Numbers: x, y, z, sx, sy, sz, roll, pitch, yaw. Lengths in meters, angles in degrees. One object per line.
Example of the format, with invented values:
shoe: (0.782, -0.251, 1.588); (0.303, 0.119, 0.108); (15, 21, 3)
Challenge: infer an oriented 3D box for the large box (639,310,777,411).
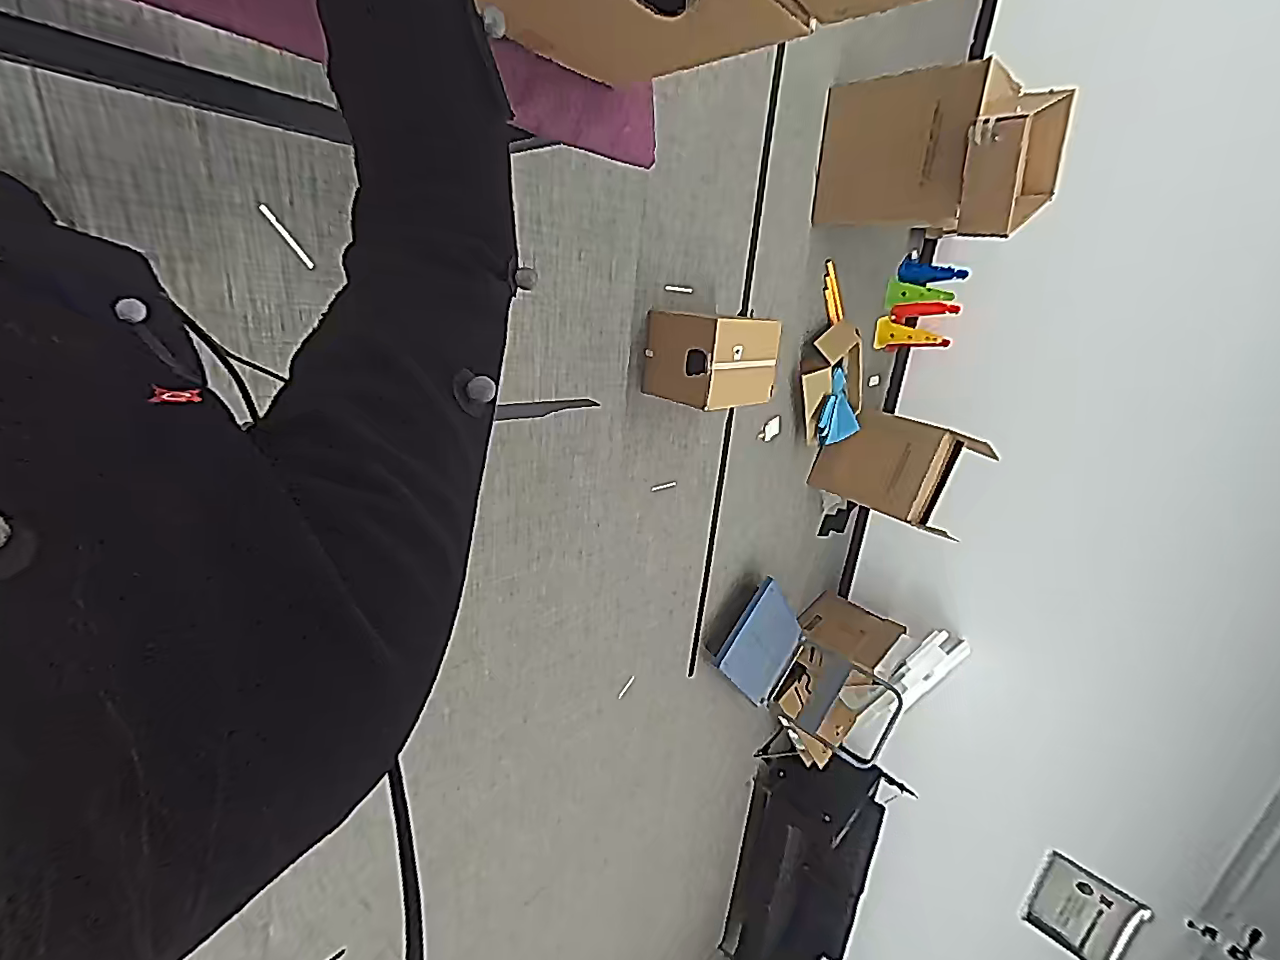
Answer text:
large box: (0.254, -0.464, 2.031); (0.408, 0.320, 0.320); (-15, 117, -43)
